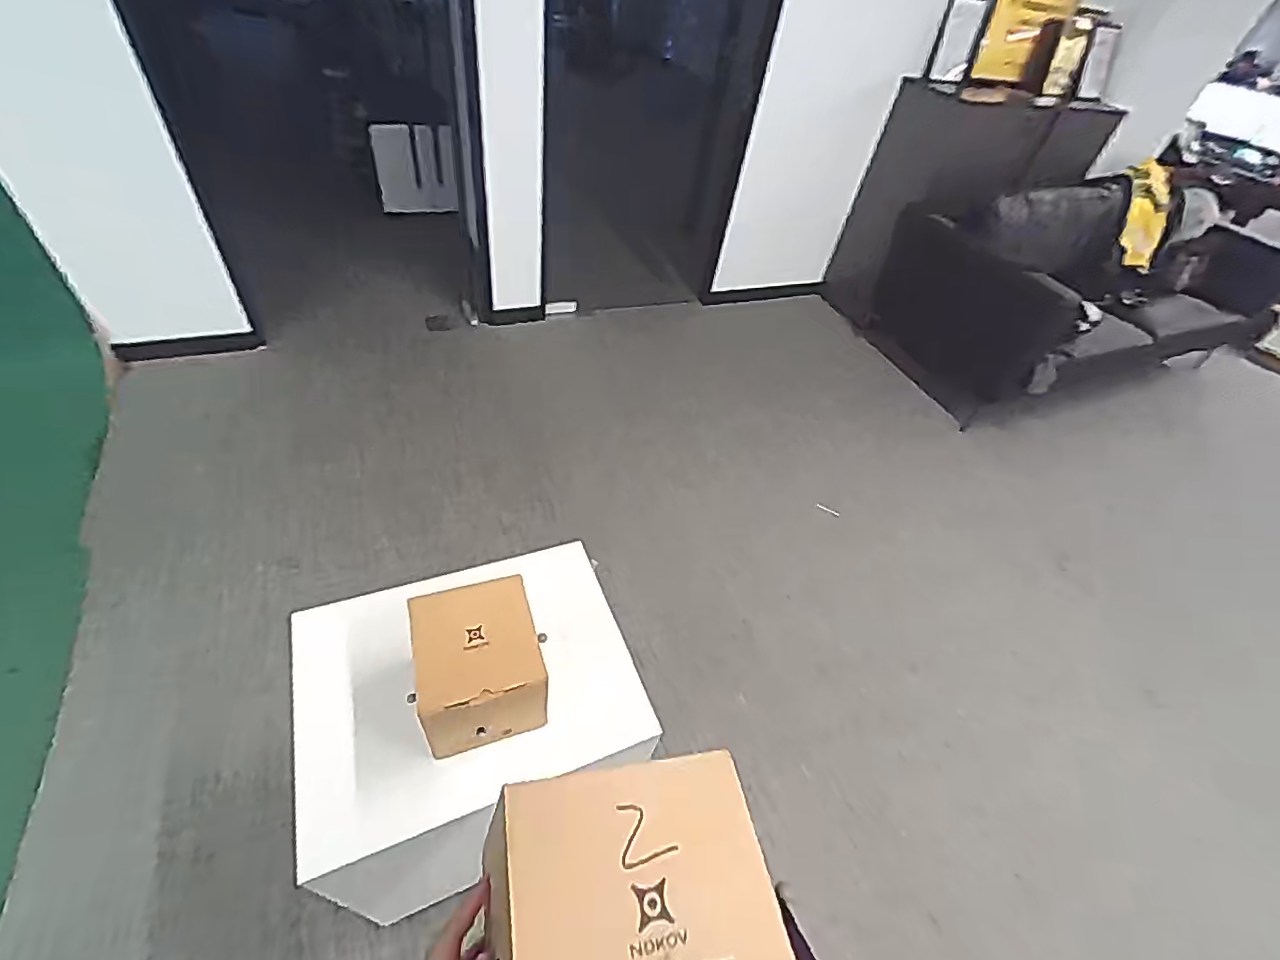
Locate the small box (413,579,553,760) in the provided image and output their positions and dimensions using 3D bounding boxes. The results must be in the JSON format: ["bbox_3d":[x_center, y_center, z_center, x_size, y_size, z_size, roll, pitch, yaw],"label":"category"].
[{"bbox_3d":[-0.232,0.277,0.799,0.168,0.176,0.179,-10,49,-20],"label":"small box"}]
